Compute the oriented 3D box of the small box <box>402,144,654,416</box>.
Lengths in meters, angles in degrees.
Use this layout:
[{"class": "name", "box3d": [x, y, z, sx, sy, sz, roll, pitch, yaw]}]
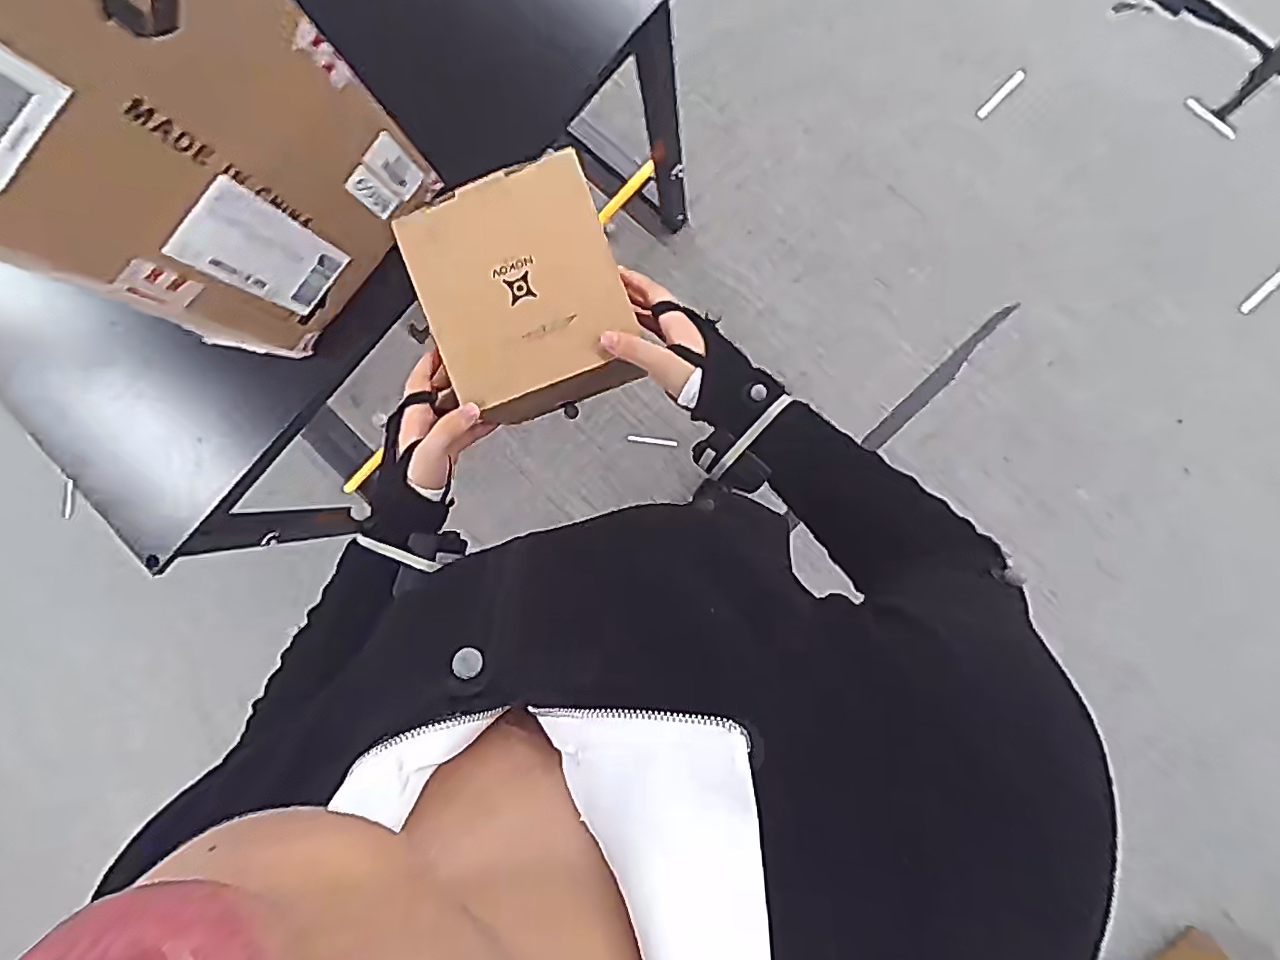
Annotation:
[{"class": "small box", "box3d": [-0.091, -0.171, 0.524, 0.168, 0.176, 0.179, -19, 93, 3]}]
